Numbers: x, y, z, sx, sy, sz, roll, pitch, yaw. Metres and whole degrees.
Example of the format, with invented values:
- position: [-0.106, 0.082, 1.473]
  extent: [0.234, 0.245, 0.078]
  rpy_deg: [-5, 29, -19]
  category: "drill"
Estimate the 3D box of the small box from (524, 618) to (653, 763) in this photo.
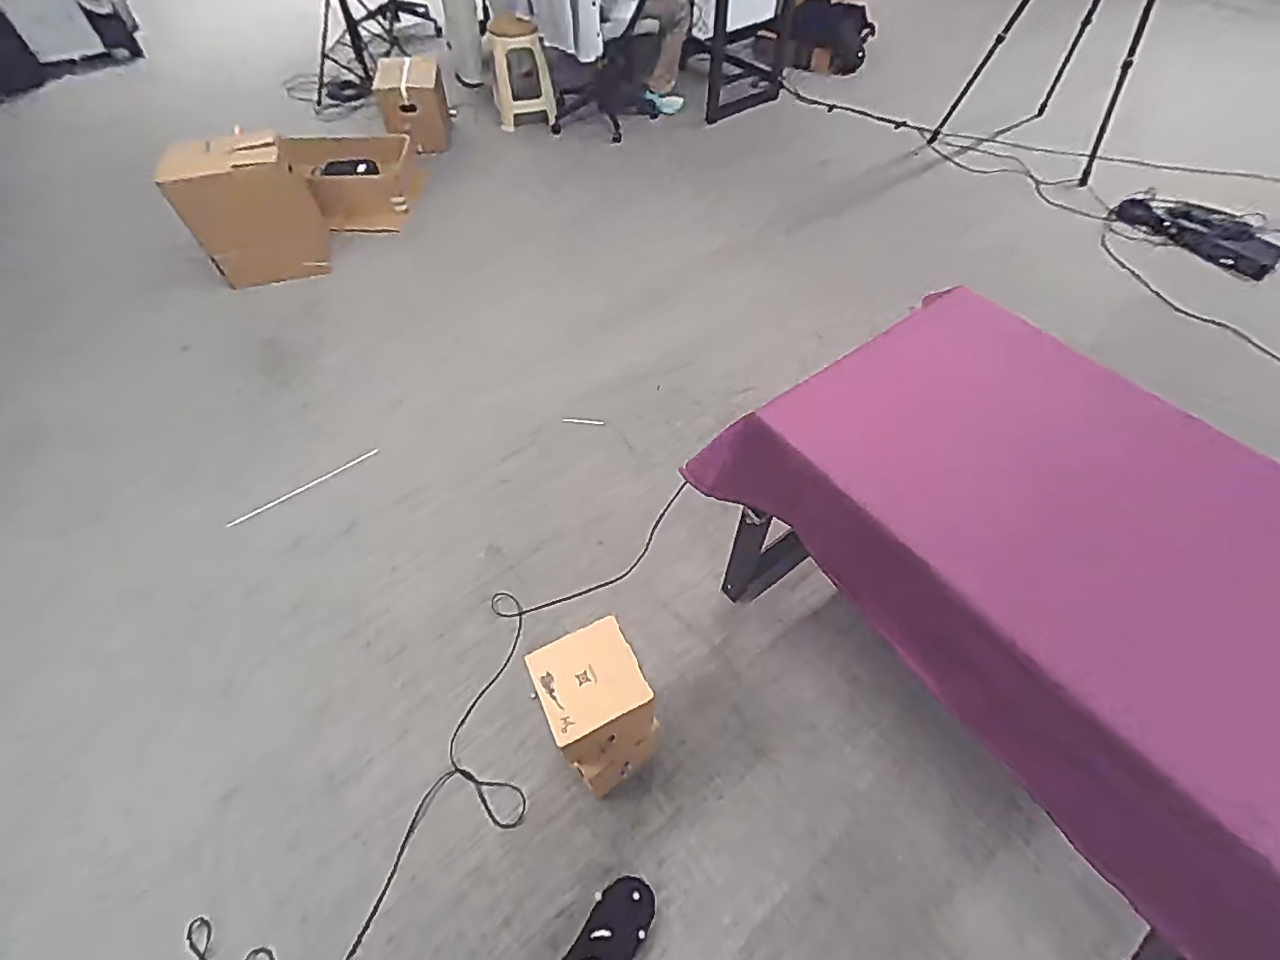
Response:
- position: [-0.092, 0.384, 0.982]
  extent: [0.179, 0.176, 0.168]
  rpy_deg: [-22, 57, -16]
  category: "small box"

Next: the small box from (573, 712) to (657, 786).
- position: [-0.081, 0.495, 1.106]
  extent: [0.168, 0.176, 0.179]
  rpy_deg: [-29, 60, -19]
  category: "small box"
